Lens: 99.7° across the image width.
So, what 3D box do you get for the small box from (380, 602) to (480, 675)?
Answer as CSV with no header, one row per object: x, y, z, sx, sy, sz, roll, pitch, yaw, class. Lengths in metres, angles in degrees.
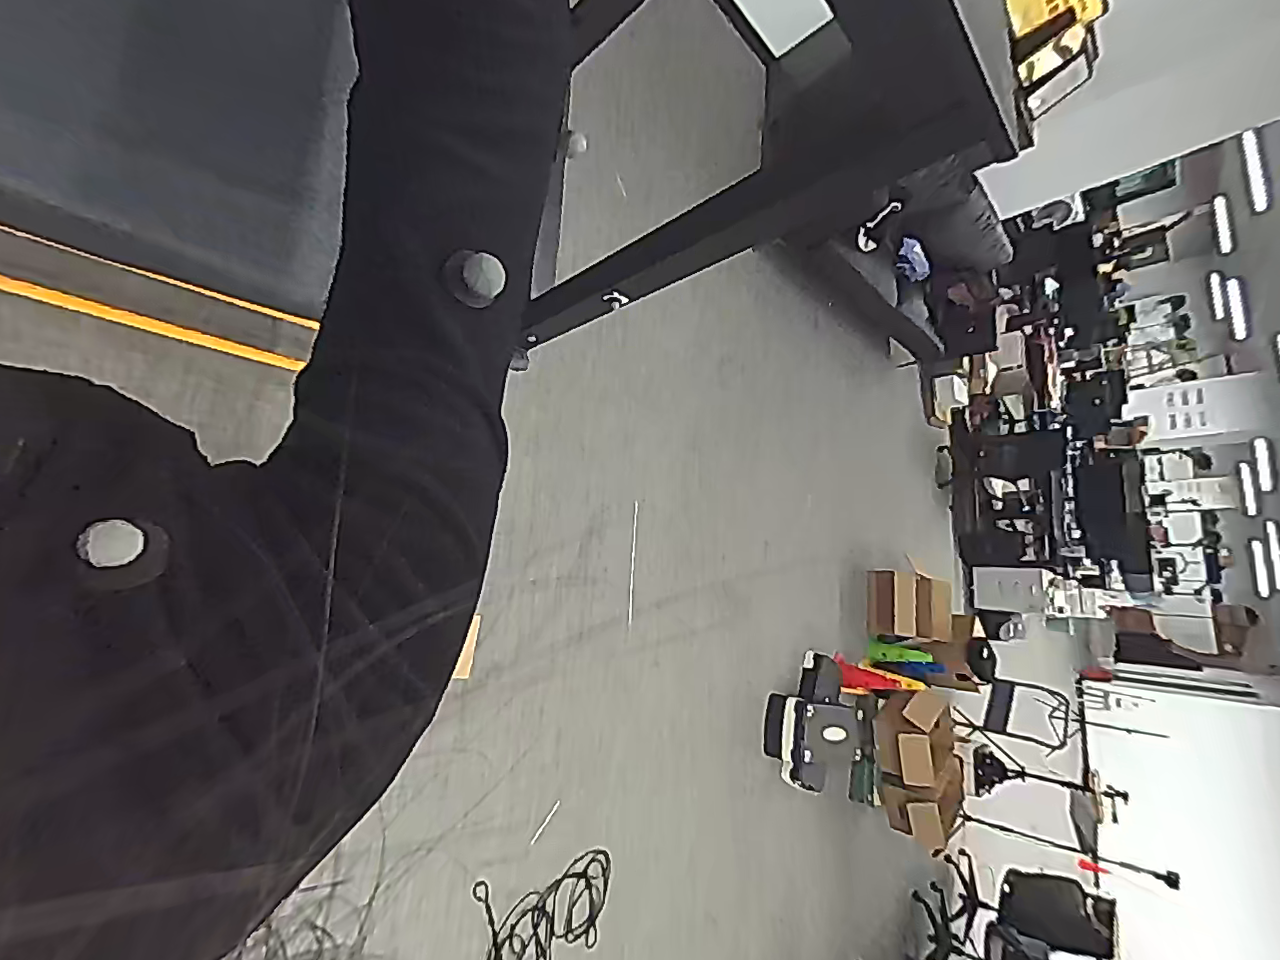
-0.564,0.422,1.451,0.179,0.176,0.168,21,70,-41,small box
